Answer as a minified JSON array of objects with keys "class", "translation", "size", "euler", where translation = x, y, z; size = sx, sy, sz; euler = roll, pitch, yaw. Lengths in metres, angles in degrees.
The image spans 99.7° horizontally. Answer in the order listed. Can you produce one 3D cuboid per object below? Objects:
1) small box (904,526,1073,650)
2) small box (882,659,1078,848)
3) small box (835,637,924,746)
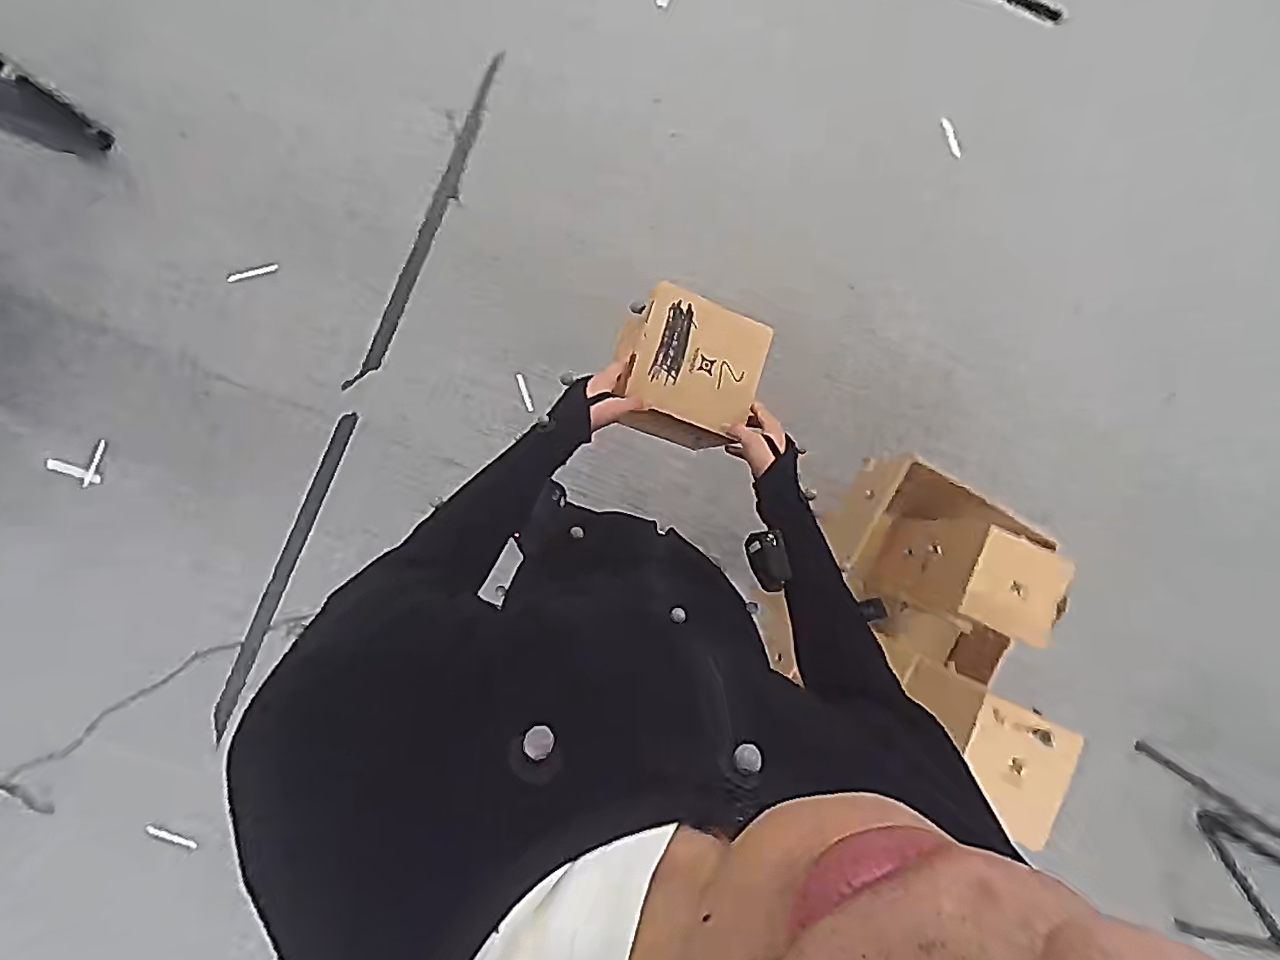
[{"class":"small box","translation":[0.648,0.193,1.023],"size":[0.179,0.176,0.168],"euler":[25,86,-4]},{"class":"small box","translation":[0.513,0.413,0.847],"size":[0.168,0.176,0.179],"euler":[26,88,-5]},{"class":"small box","translation":[0.499,0.412,1.010],"size":[0.179,0.176,0.168],"euler":[28,87,-4]}]
